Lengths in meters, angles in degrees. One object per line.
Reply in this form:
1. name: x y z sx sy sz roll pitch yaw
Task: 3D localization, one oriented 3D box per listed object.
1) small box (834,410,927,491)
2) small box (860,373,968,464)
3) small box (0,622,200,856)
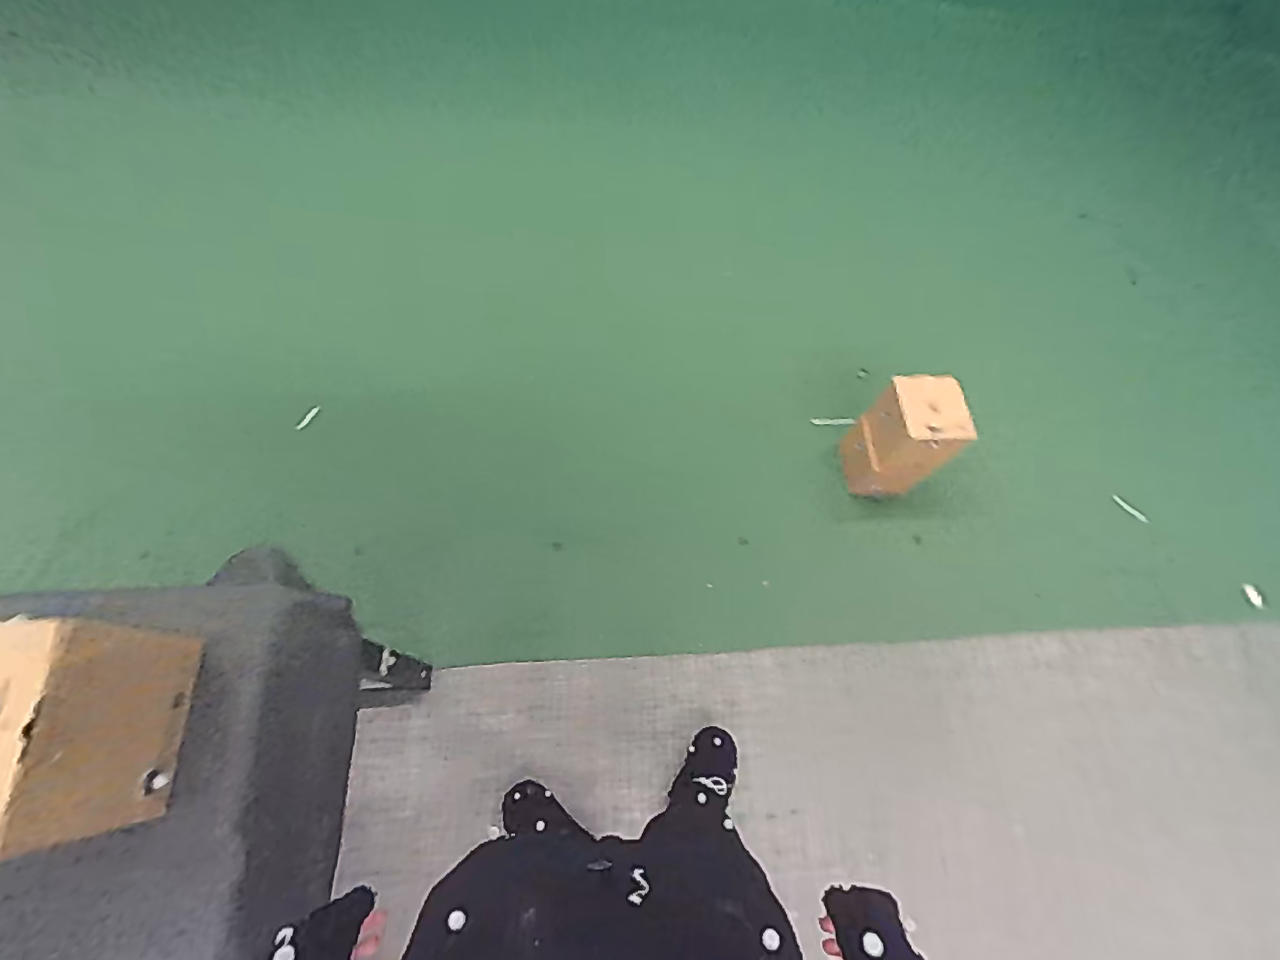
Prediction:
1. small box: 0.671 -0.081 1.533 0.168 0.176 0.179 -2 67 -5
2. small box: 0.691 -0.155 1.388 0.168 0.176 0.179 -2 65 -5
3. small box: -0.544 0.221 0.475 0.179 0.176 0.168 -2 67 -5
